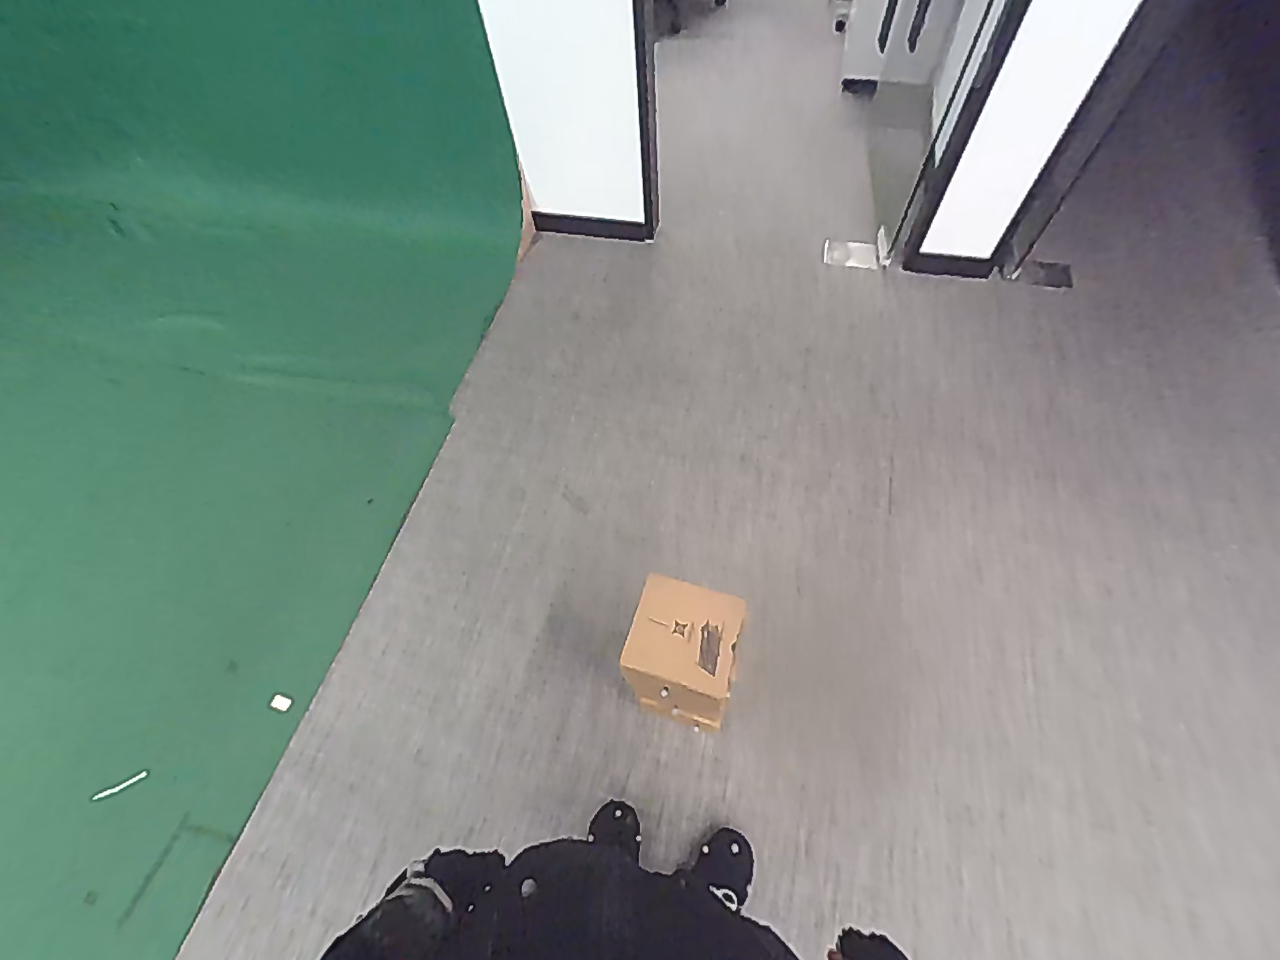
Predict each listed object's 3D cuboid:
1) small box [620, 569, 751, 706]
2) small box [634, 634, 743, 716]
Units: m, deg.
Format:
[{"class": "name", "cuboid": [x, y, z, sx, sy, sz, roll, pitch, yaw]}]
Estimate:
[{"class": "small box", "cuboid": [0.081, 0.285, 0.957, 0.179, 0.176, 0.168, 17, 61, 14]}, {"class": "small box", "cuboid": [0.099, 0.367, 1.101, 0.179, 0.176, 0.168, 15, 63, 12]}]
